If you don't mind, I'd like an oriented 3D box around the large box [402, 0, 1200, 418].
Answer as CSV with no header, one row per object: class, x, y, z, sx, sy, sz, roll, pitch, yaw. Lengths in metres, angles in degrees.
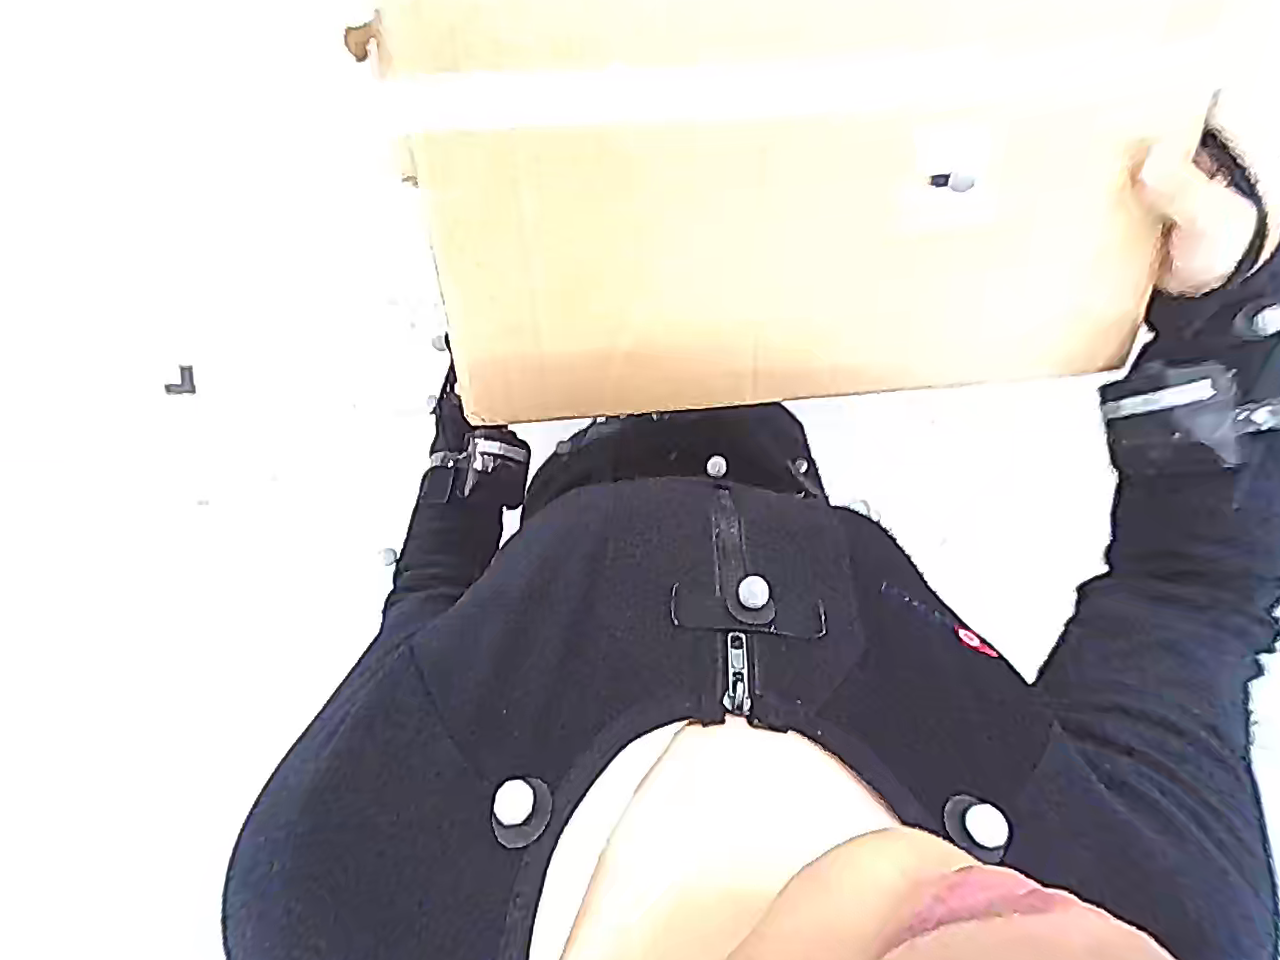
large box,0.072,-0.255,0.412,0.408,0.320,0.320,-6,114,-5
